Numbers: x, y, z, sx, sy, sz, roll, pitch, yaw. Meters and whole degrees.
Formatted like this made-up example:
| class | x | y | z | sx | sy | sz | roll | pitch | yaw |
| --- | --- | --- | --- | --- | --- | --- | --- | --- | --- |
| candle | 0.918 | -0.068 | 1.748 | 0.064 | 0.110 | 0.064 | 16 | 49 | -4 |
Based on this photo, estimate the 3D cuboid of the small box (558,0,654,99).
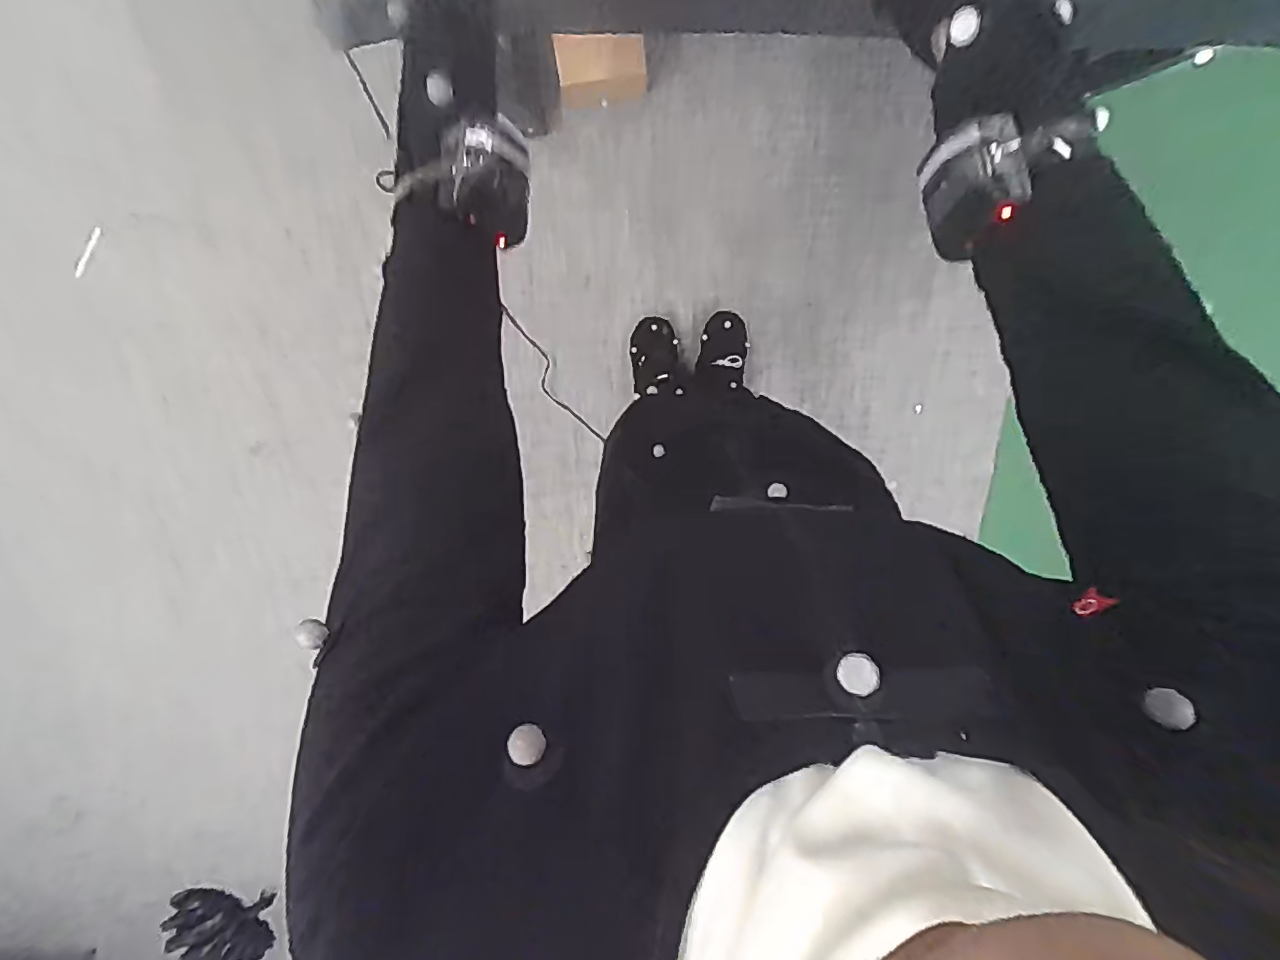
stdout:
| class | x | y | z | sx | sy | sz | roll | pitch | yaw |
| --- | --- | --- | --- | --- | --- | --- | --- | --- | --- |
| small box | -0.064 | -0.869 | 1.042 | 0.168 | 0.176 | 0.179 | -5 | 113 | 3 |
